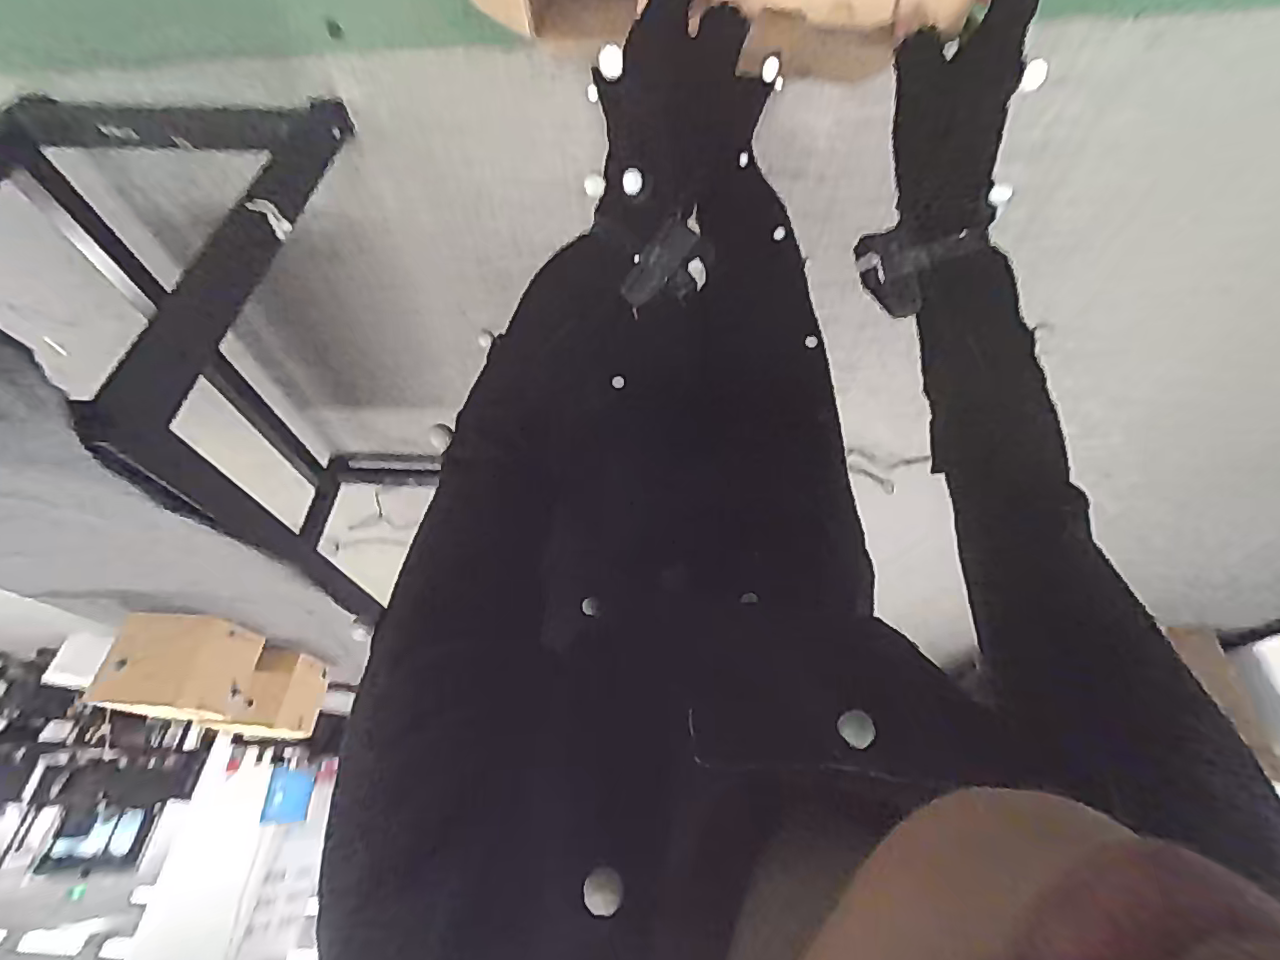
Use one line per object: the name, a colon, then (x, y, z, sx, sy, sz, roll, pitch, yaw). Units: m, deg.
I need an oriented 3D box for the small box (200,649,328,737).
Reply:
small box: (-0.880, 0.511, 1.294, 0.179, 0.176, 0.168, 3, 147, 2)

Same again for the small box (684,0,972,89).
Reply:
small box: (0.129, -0.399, 0.374, 0.168, 0.176, 0.179, 3, 118, -6)
